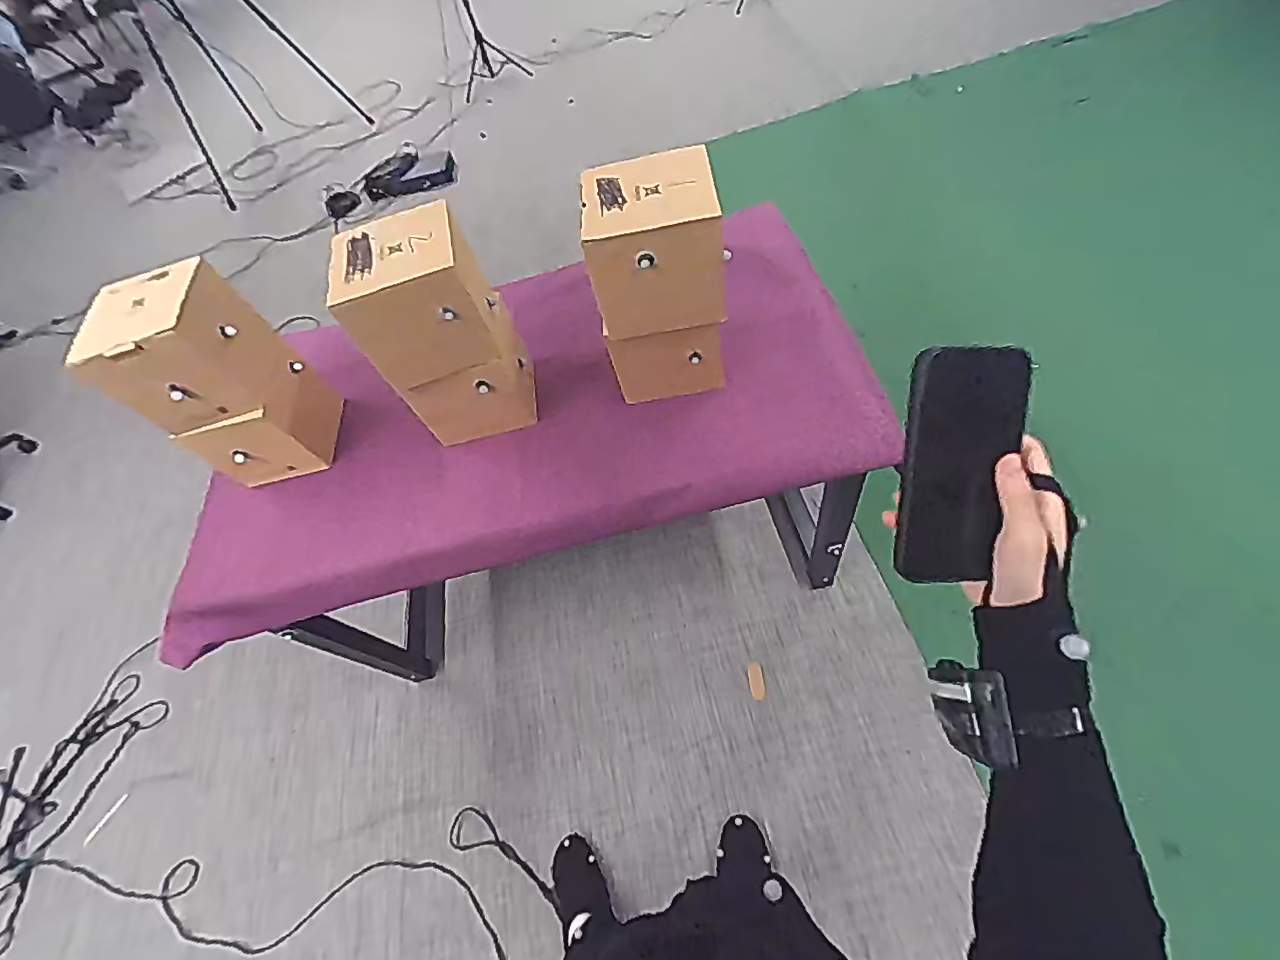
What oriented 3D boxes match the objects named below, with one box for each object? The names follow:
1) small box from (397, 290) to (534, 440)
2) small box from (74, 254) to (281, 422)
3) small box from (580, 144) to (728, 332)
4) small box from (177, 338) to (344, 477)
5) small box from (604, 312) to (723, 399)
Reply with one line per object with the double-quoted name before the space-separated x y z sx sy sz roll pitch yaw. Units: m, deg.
"small box" -0.290 -0.193 0.940 0.179 0.176 0.168 -13 58 5
"small box" -0.704 -0.211 0.849 0.168 0.176 0.179 -17 58 1
"small box" 0.023 -0.330 0.761 0.179 0.176 0.168 -8 58 7
"small box" -0.672 -0.121 0.983 0.168 0.176 0.179 -13 58 5
"small box" 0.044 -0.258 0.908 0.179 0.176 0.168 -8 58 9
